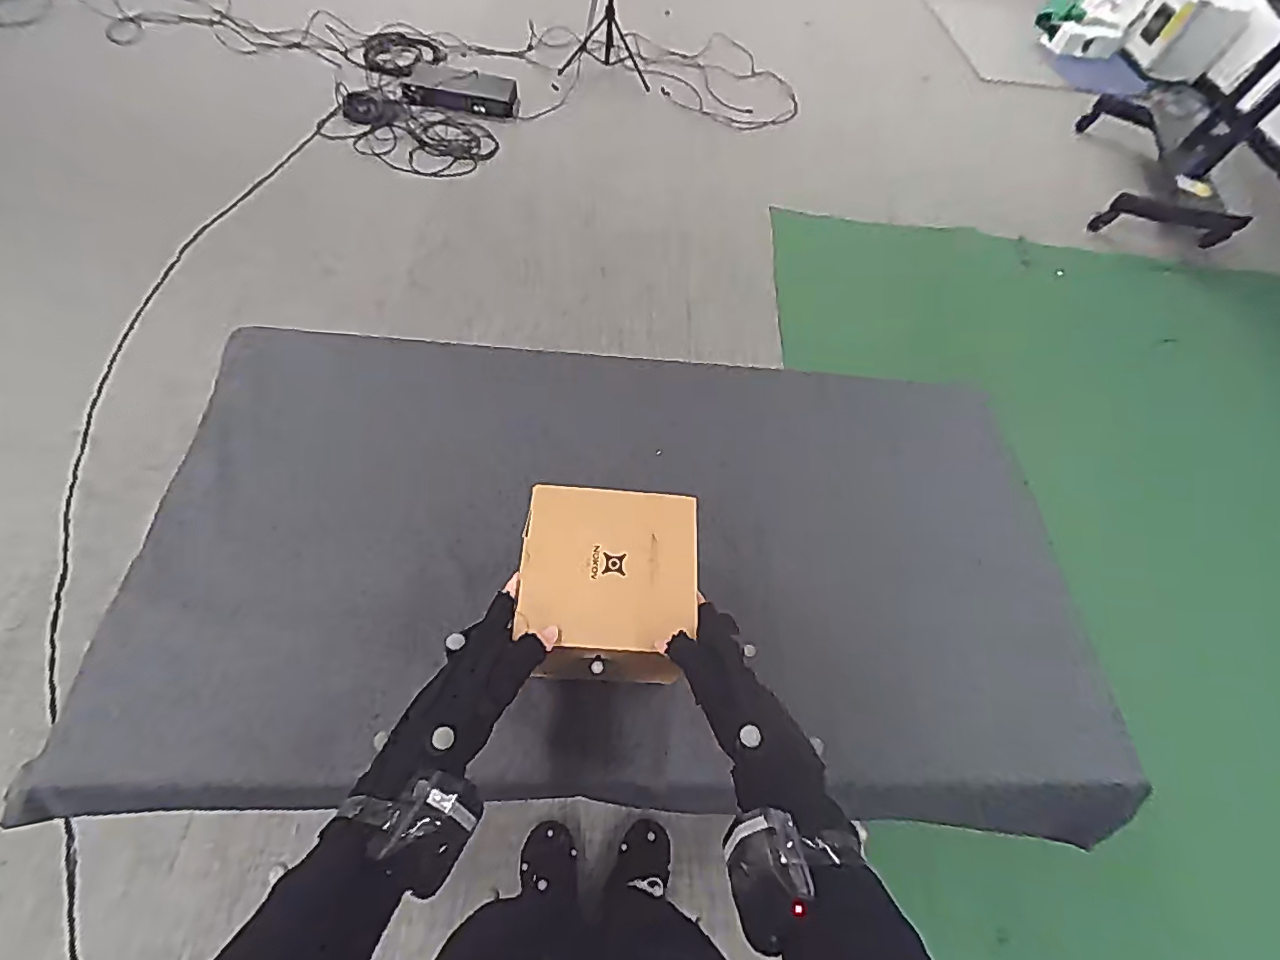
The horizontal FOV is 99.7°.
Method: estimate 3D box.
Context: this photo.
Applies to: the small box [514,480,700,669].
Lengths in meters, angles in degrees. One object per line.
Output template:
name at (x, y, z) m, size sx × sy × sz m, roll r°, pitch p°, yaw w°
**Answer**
small box at (-0.036, 0.113, 0.607) m, size 0.179 × 0.176 × 0.168 m, roll 3°, pitch 62°, yaw -5°
